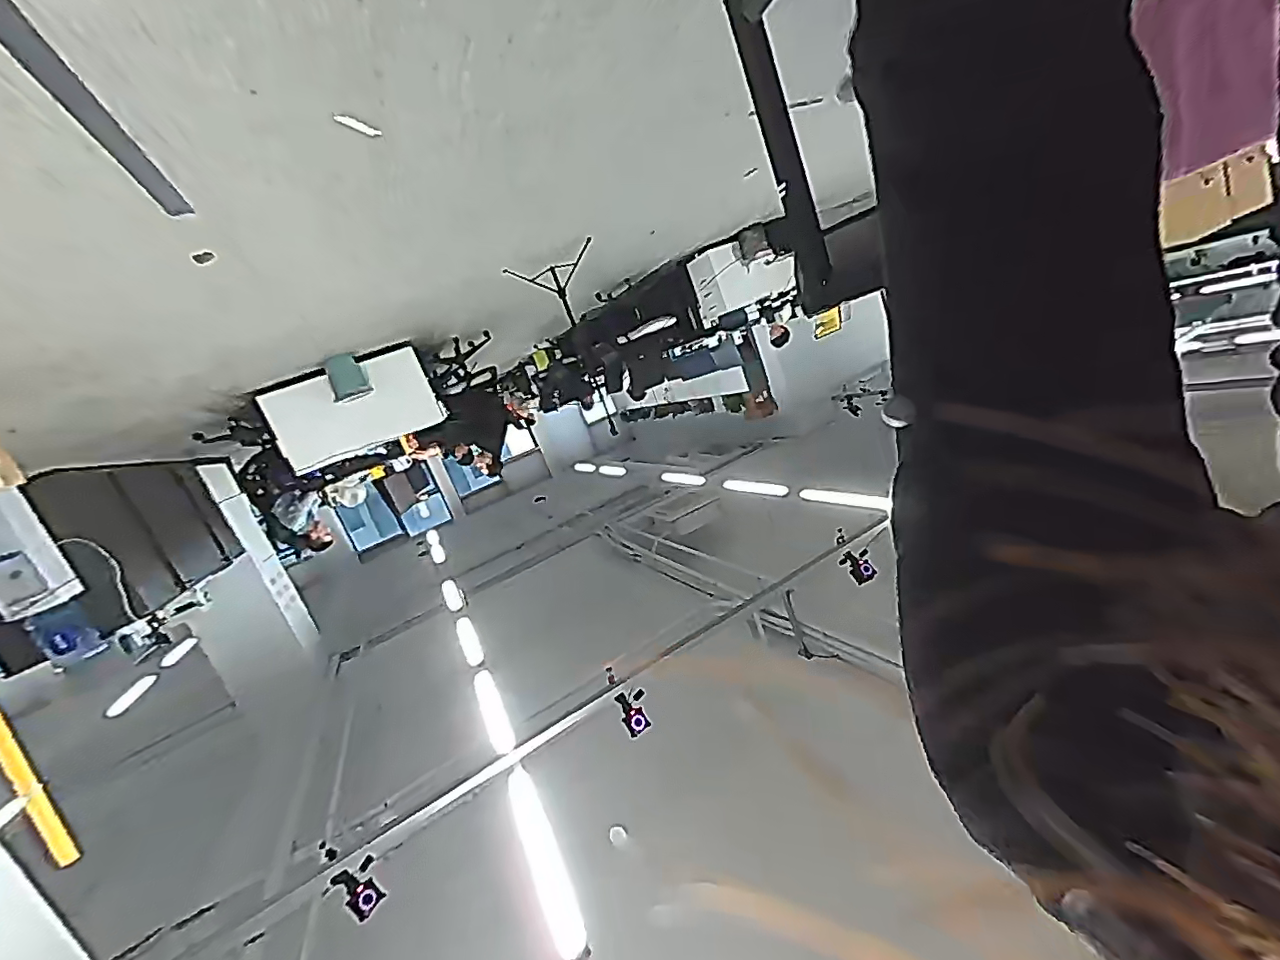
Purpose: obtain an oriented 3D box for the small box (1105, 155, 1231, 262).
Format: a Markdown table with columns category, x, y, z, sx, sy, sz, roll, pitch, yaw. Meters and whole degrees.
| category | x | y | z | sx | sy | sz | roll | pitch | yaw |
| --- | --- | --- | --- | --- | --- | --- | --- | --- | --- |
| small box | 1.301 | -0.671 | 1.341 | 0.168 | 0.176 | 0.179 | -25 | -168 | -16 |
